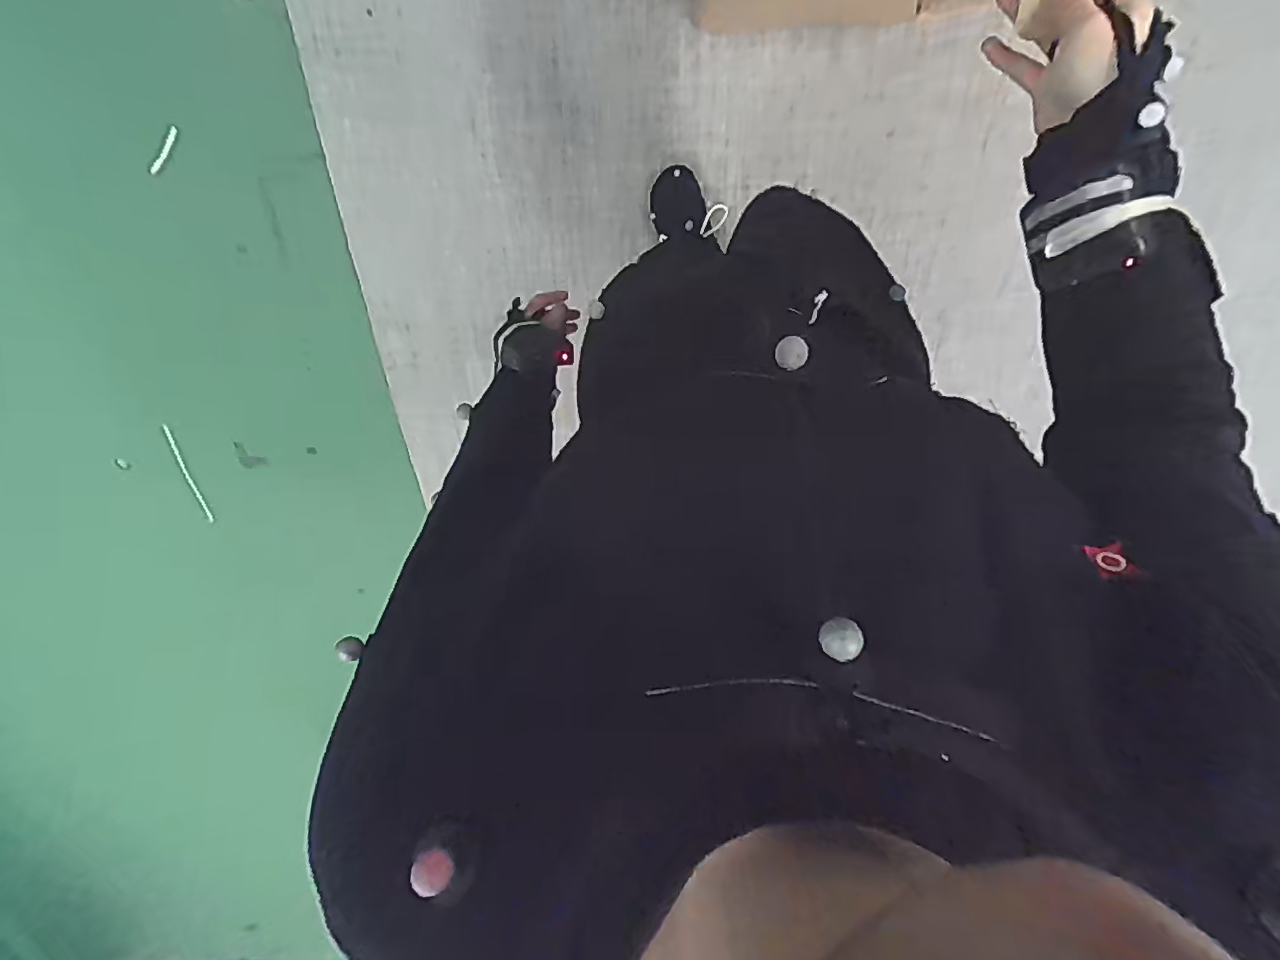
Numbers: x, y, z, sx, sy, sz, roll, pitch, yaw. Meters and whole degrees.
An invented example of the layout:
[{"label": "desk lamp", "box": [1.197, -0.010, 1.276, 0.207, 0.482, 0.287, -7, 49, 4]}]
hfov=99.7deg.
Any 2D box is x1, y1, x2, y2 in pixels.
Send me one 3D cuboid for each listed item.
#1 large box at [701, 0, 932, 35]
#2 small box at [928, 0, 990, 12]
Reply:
[{"label": "large box", "box": [0.294, -0.885, 0.778, 0.408, 0.320, 0.320, -2, 120, 3]}, {"label": "small box", "box": [0.288, -0.452, 0.355, 0.168, 0.176, 0.179, 6, 121, 22]}]
